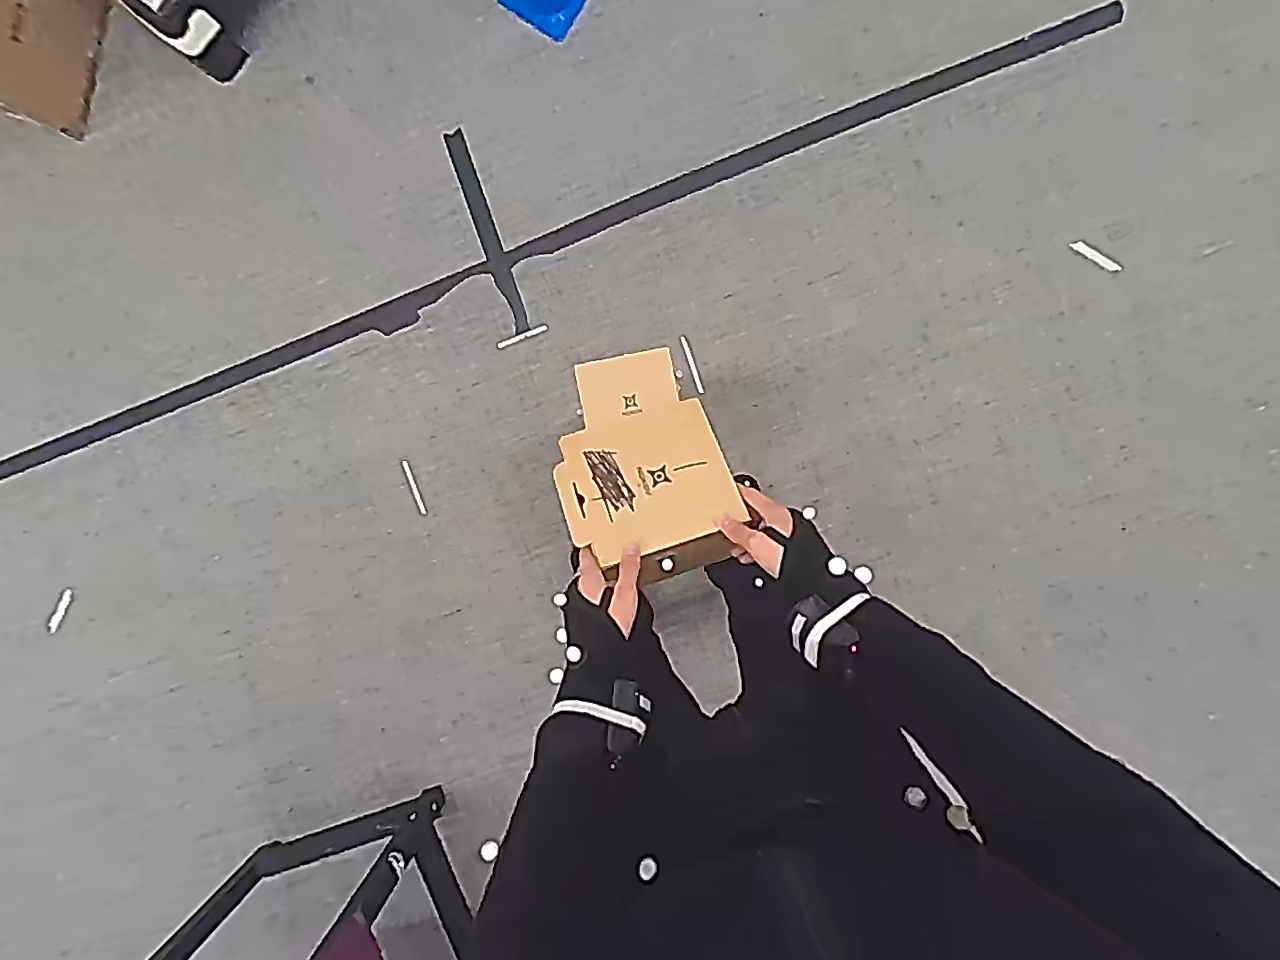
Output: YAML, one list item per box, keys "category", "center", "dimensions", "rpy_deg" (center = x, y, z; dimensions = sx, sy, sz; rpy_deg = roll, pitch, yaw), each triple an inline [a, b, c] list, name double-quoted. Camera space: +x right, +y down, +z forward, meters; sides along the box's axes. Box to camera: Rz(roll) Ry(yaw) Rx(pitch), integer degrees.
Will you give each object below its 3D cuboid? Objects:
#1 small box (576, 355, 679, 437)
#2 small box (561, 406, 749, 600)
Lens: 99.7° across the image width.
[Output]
- category: "small box"
  center: [-0.013, -0.116, 0.992]
  dimensions: [0.168, 0.176, 0.179]
  rpy_deg: [-10, 94, 3]
- category: "small box"
  center: [0.015, 0.038, 0.680]
  dimensions: [0.179, 0.176, 0.168]
  rpy_deg: [-17, 68, -8]
